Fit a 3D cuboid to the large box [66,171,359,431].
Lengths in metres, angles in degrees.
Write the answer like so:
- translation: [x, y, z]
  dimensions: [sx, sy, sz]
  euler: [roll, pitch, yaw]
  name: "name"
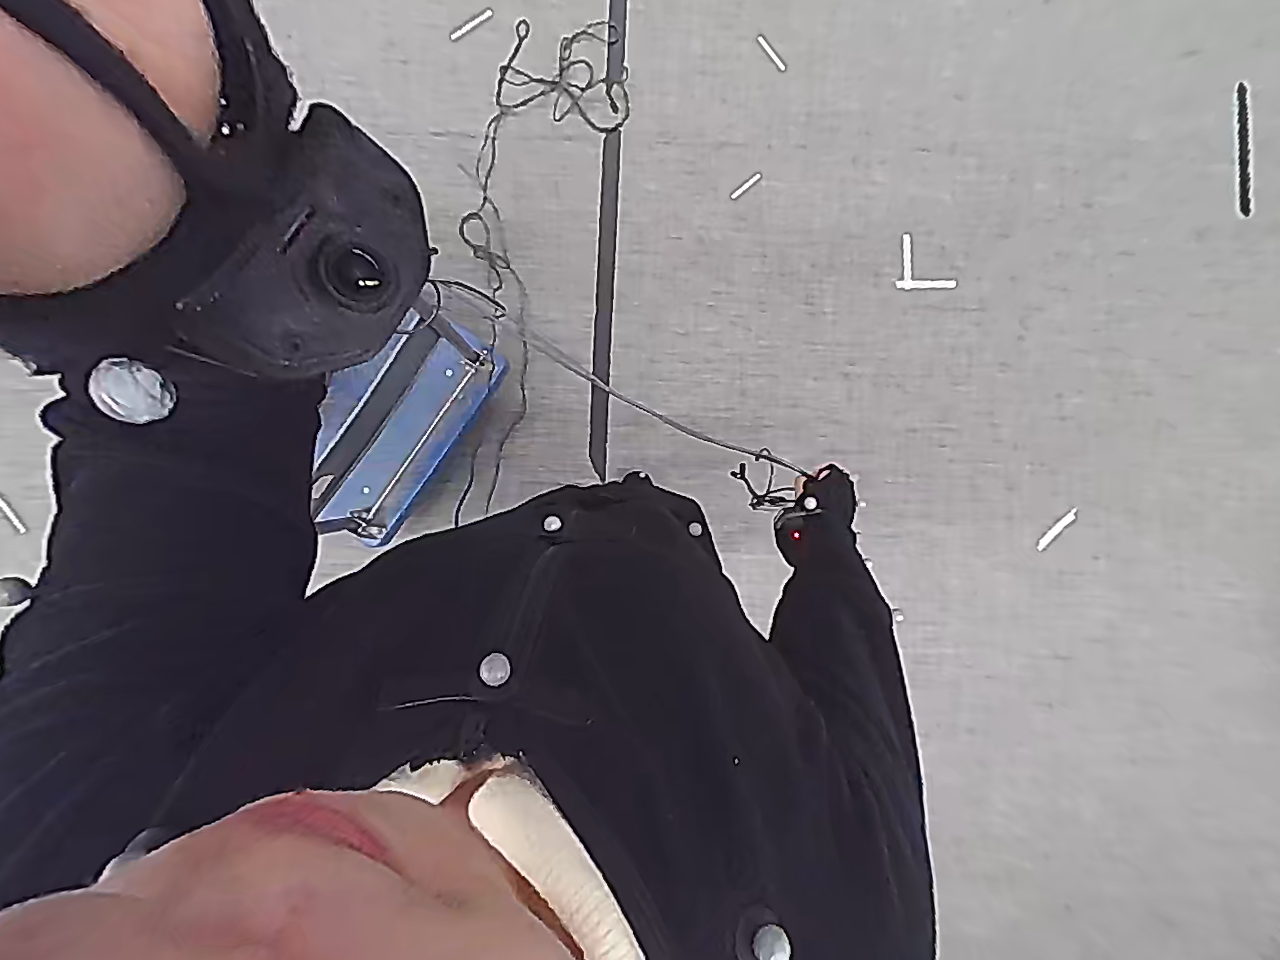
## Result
- translation: [-0.885, -0.352, 1.175]
  dimensions: [0.320, 0.320, 0.408]
  euler: [18, 88, -1]
  name: "large box"
